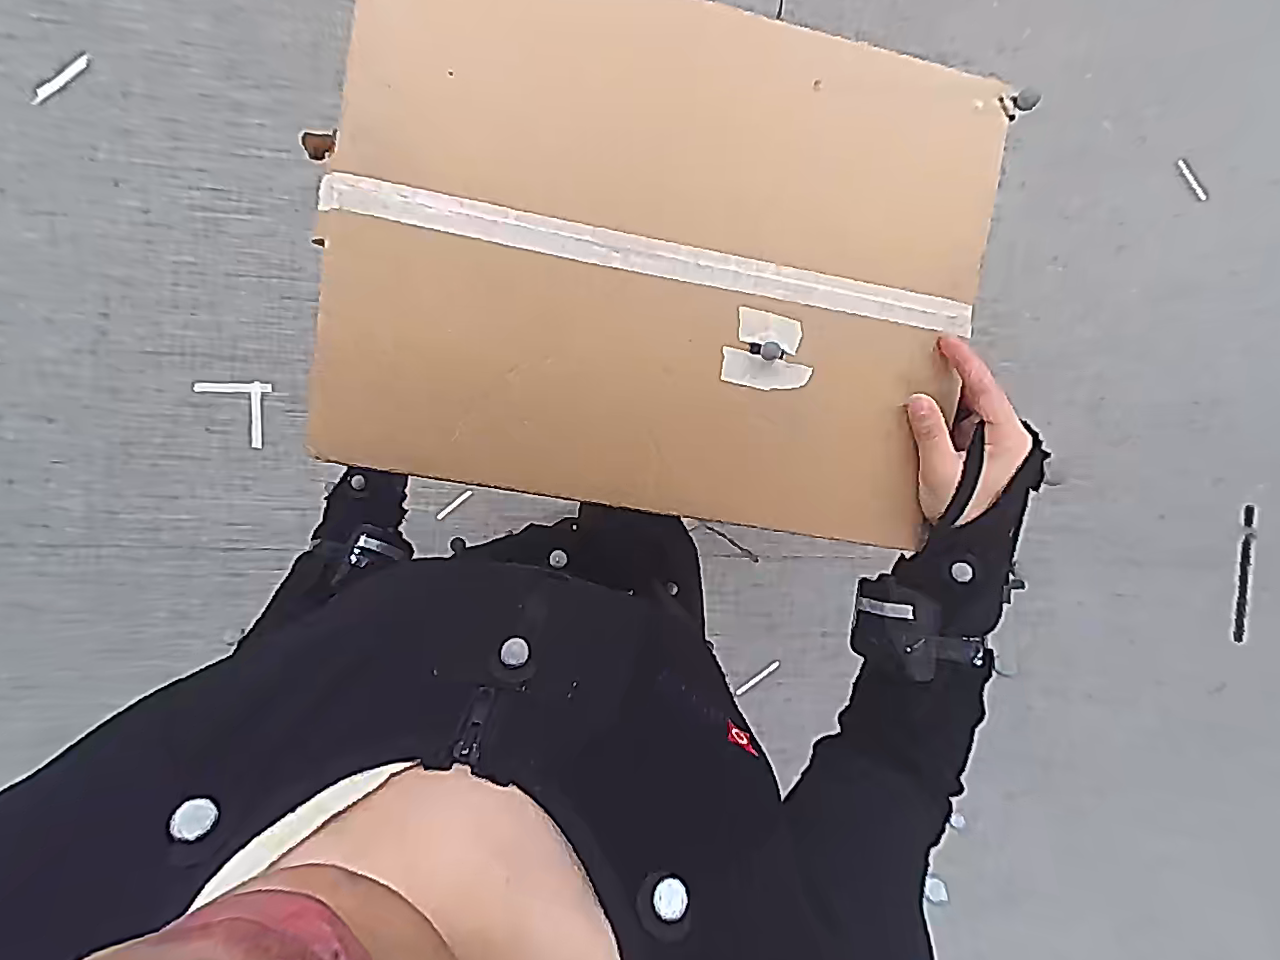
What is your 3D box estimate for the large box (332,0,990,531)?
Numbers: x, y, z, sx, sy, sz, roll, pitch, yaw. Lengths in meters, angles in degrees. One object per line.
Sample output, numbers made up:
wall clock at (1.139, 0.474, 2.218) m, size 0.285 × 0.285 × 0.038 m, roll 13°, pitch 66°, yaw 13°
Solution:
large box at (0.004, -0.150, 0.496) m, size 0.408 × 0.320 × 0.320 m, roll 9°, pitch 94°, yaw -8°
